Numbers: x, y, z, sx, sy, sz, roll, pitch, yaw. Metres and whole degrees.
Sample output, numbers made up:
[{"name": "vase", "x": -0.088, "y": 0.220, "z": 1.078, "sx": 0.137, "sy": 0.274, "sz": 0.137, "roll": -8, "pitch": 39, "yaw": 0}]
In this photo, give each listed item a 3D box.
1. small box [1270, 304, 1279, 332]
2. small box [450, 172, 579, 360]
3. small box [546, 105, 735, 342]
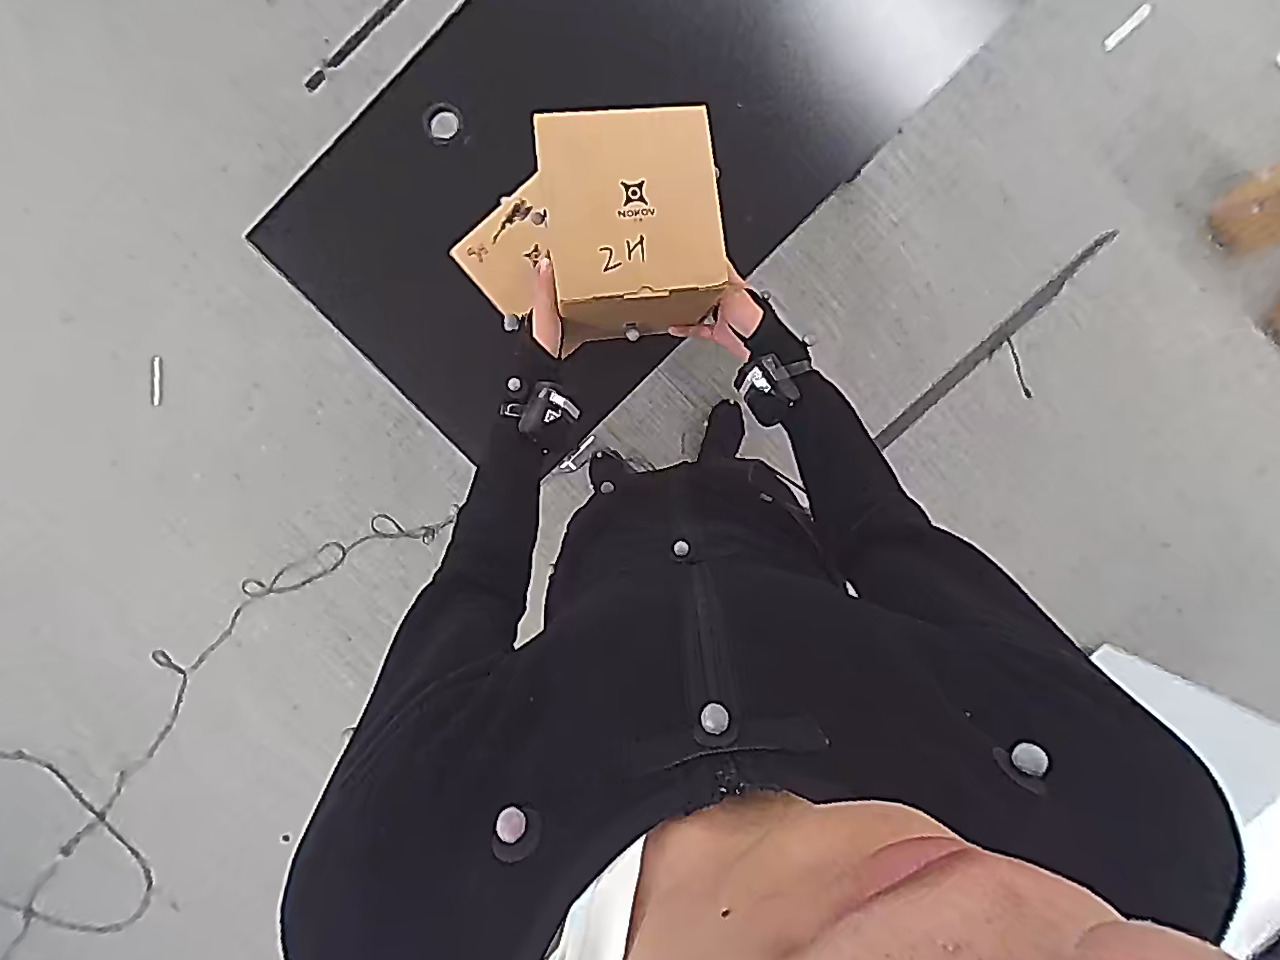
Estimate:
[{"name": "small box", "x": 1.967, "y": -0.481, "z": 1.516, "sx": 0.168, "sy": 0.176, "sz": 0.179, "roll": 44, "pitch": 95, "yaw": -3}, {"name": "small box", "x": -0.132, "y": -0.290, "z": 0.782, "sx": 0.168, "sy": 0.176, "sz": 0.179, "roll": -40, "pitch": 95, "yaw": 3}, {"name": "small box", "x": -0.009, "y": -0.260, "z": 0.580, "sx": 0.168, "sy": 0.176, "sz": 0.179, "roll": -7, "pitch": 92, "yaw": -7}]
